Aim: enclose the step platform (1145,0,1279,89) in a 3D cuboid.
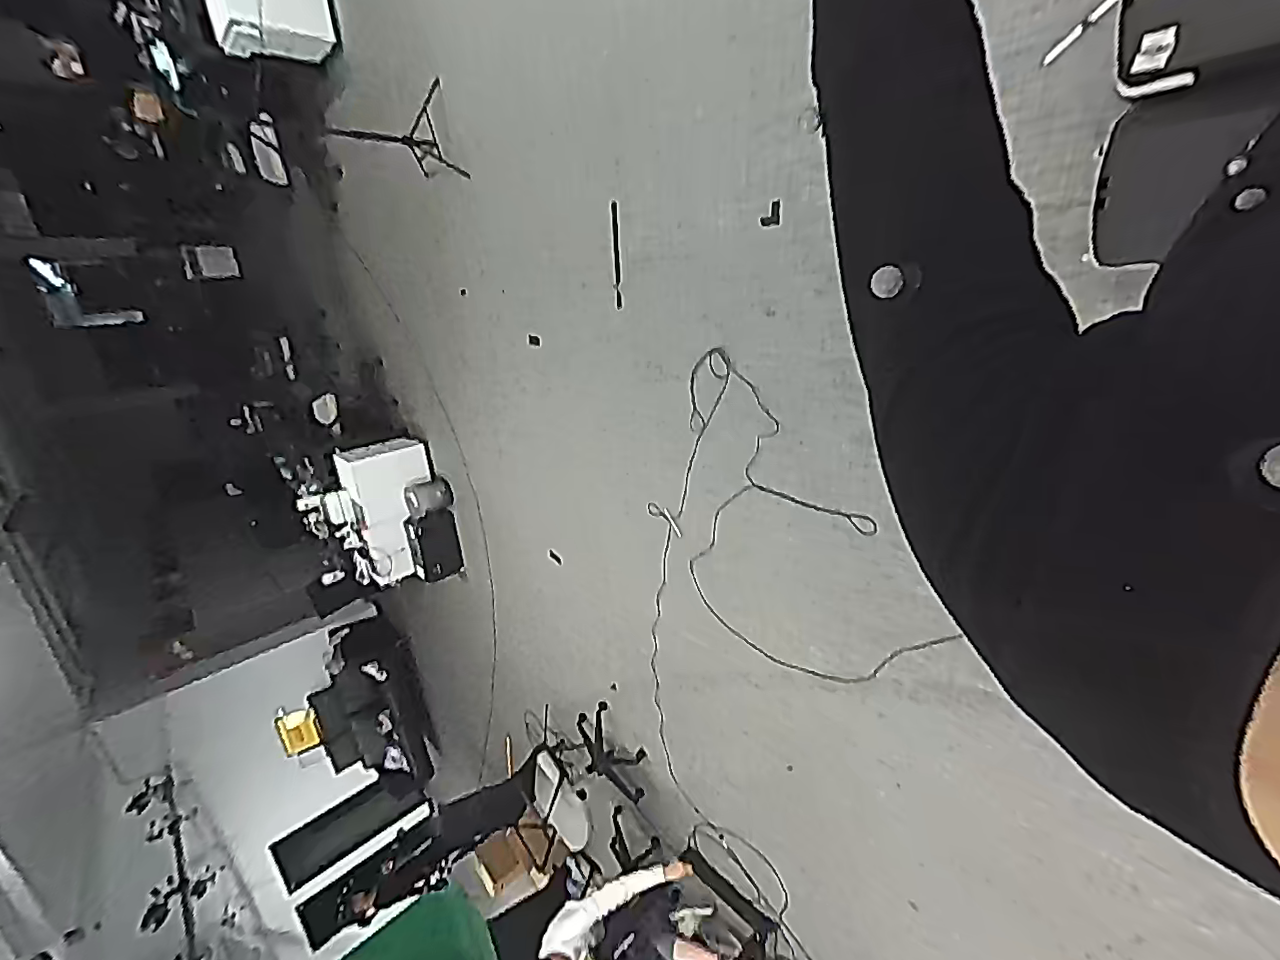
[{"bbox_3d":[1.118,-0.777,0.693,0.684,0.204,0.286,15,117,44],"label":"step platform"}]
